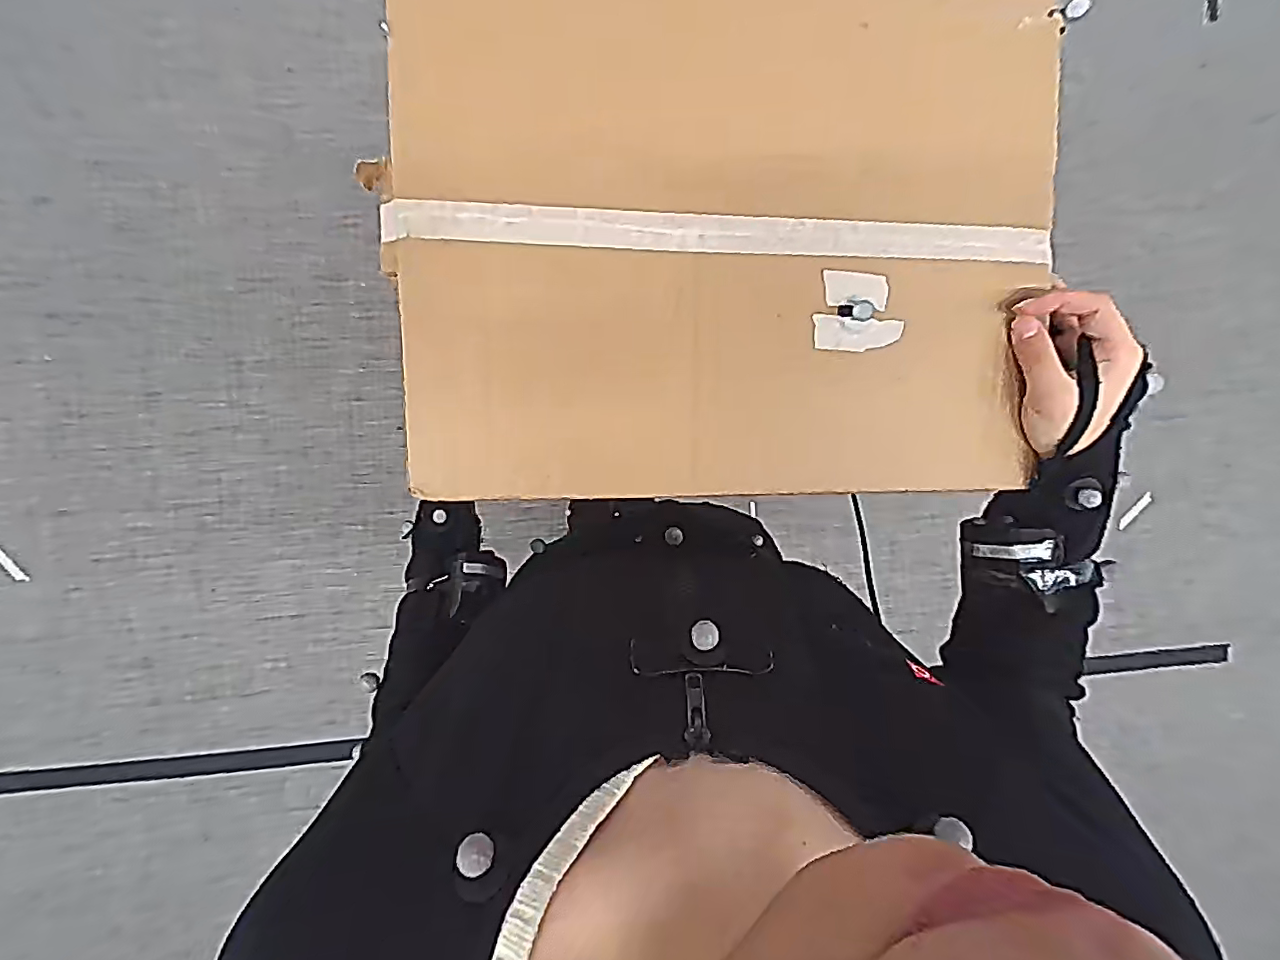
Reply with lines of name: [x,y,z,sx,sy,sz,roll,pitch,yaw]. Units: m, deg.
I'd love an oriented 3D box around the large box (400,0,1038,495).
large box: [0.041,-0.163,0.481,0.408,0.320,0.320,-1,96,-9]
